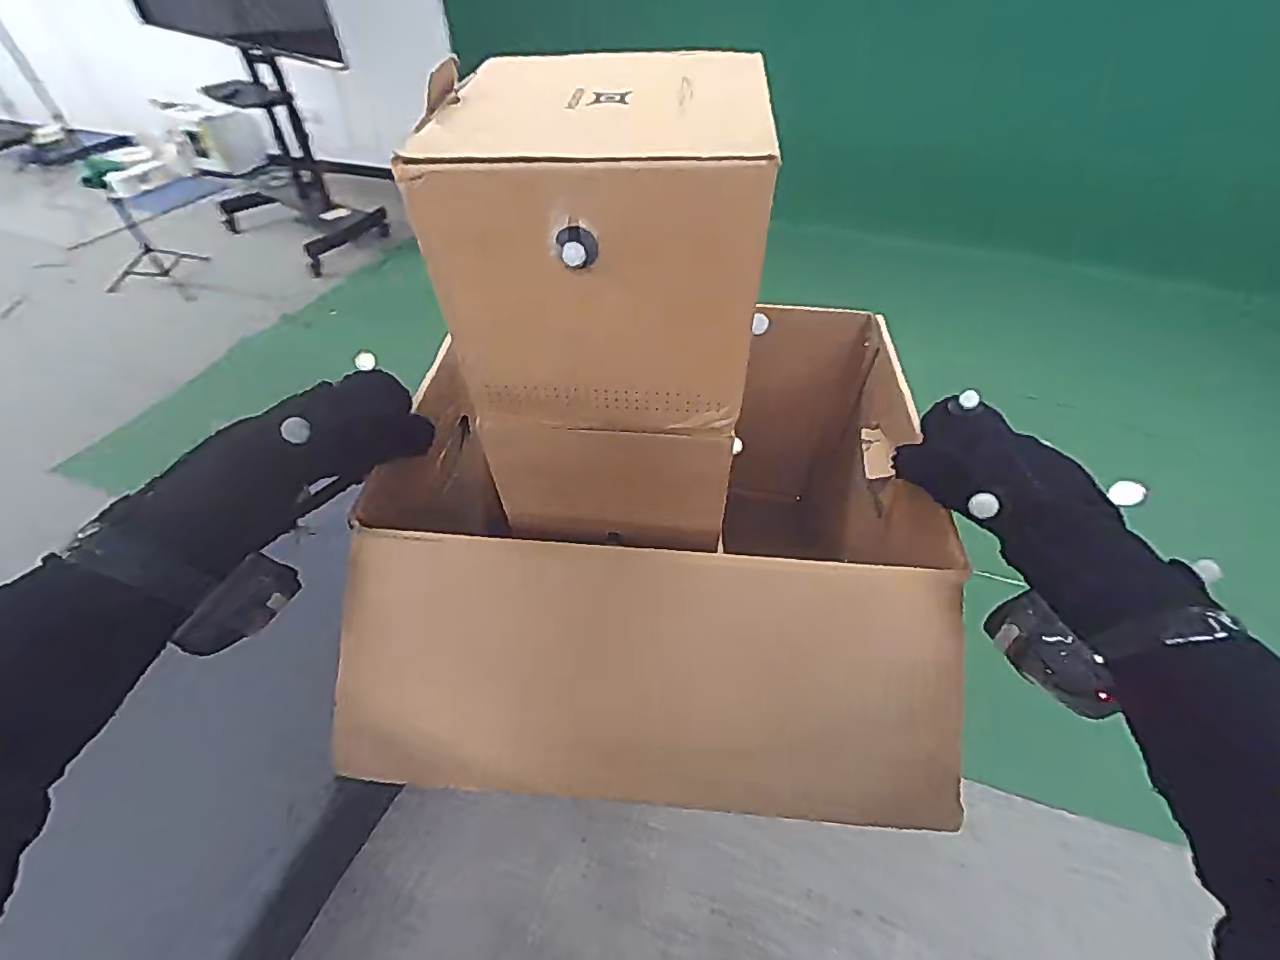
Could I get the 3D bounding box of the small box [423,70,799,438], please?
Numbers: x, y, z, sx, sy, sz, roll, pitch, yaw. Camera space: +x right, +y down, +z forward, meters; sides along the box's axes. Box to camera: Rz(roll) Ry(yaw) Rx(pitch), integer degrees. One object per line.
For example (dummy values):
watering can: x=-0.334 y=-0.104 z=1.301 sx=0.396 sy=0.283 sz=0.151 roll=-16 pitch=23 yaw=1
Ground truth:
small box: x=-0.006 y=-0.143 z=0.354 sx=0.179 sy=0.176 sz=0.168 roll=3 pitch=51 yaw=4
